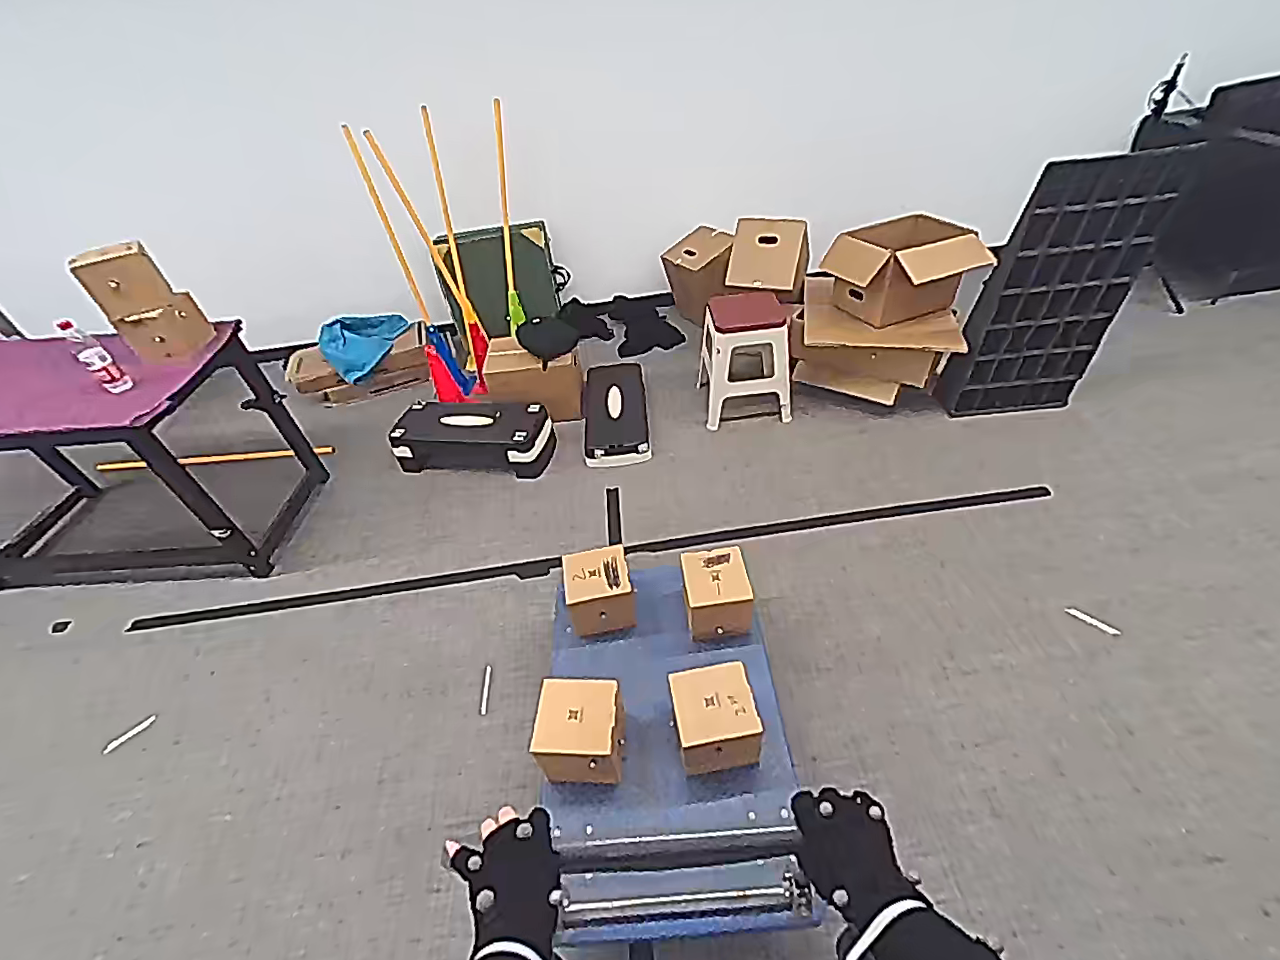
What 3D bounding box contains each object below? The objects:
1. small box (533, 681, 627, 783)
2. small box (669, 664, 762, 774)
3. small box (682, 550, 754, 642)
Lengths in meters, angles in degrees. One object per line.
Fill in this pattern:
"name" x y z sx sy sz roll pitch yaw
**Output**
"small box" -0.131 0.583 1.248 0.179 0.176 0.168 -1 43 5
"small box" 0.171 0.551 1.239 0.179 0.176 0.168 -10 43 -2
"small box" 0.209 0.318 1.484 0.168 0.176 0.179 -8 44 0
